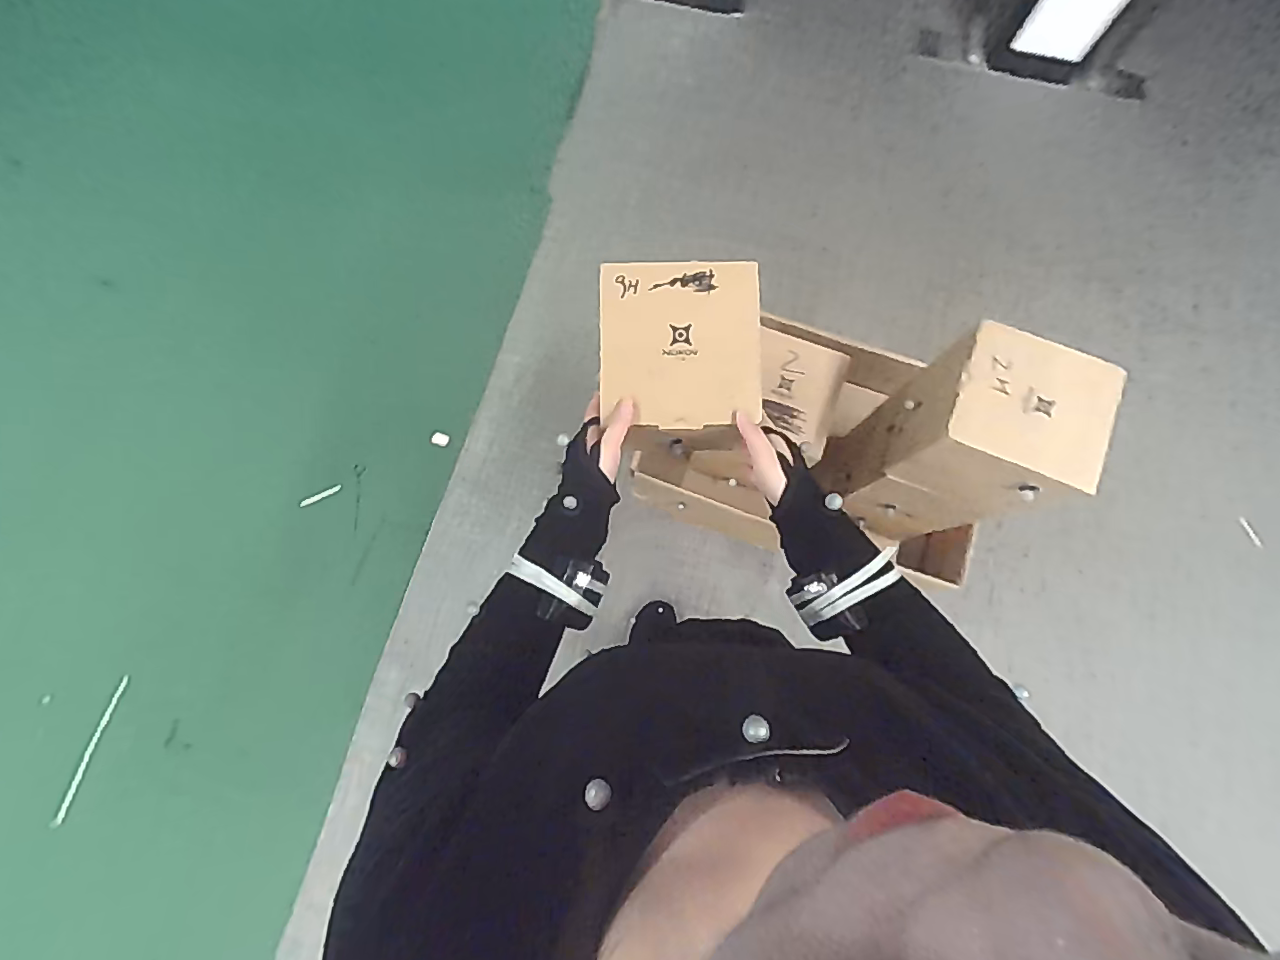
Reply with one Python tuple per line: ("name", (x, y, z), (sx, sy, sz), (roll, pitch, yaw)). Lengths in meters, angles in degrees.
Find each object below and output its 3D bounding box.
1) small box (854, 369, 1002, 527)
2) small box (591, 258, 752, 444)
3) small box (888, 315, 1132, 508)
("small box", (0.464, -0.042, 0.858), (0.168, 0.176, 0.179), (22, 79, 6))
("small box", (0.034, -0.135, 0.629), (0.168, 0.176, 0.179), (-1, 86, 1))
("small box", (0.458, -0.074, 0.696), (0.179, 0.176, 0.168), (24, 78, 7))
